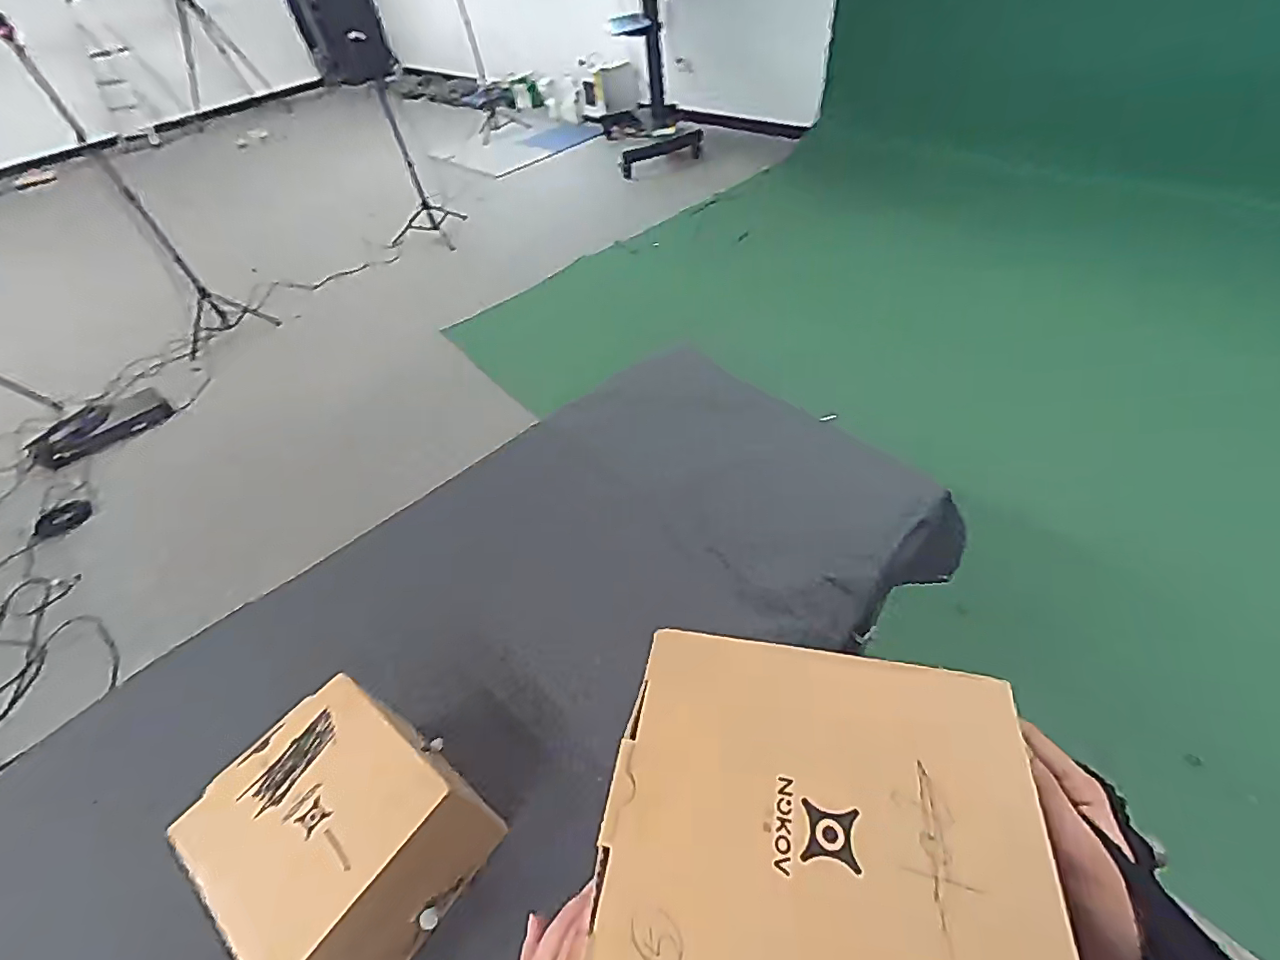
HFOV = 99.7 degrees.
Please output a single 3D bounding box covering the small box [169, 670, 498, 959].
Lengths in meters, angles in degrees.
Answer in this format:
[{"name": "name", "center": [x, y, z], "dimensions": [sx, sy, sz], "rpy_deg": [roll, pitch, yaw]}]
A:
[{"name": "small box", "center": [-0.265, 0.320, 0.502], "dimensions": [0.179, 0.176, 0.168], "rpy_deg": [27, 57, 28]}]
